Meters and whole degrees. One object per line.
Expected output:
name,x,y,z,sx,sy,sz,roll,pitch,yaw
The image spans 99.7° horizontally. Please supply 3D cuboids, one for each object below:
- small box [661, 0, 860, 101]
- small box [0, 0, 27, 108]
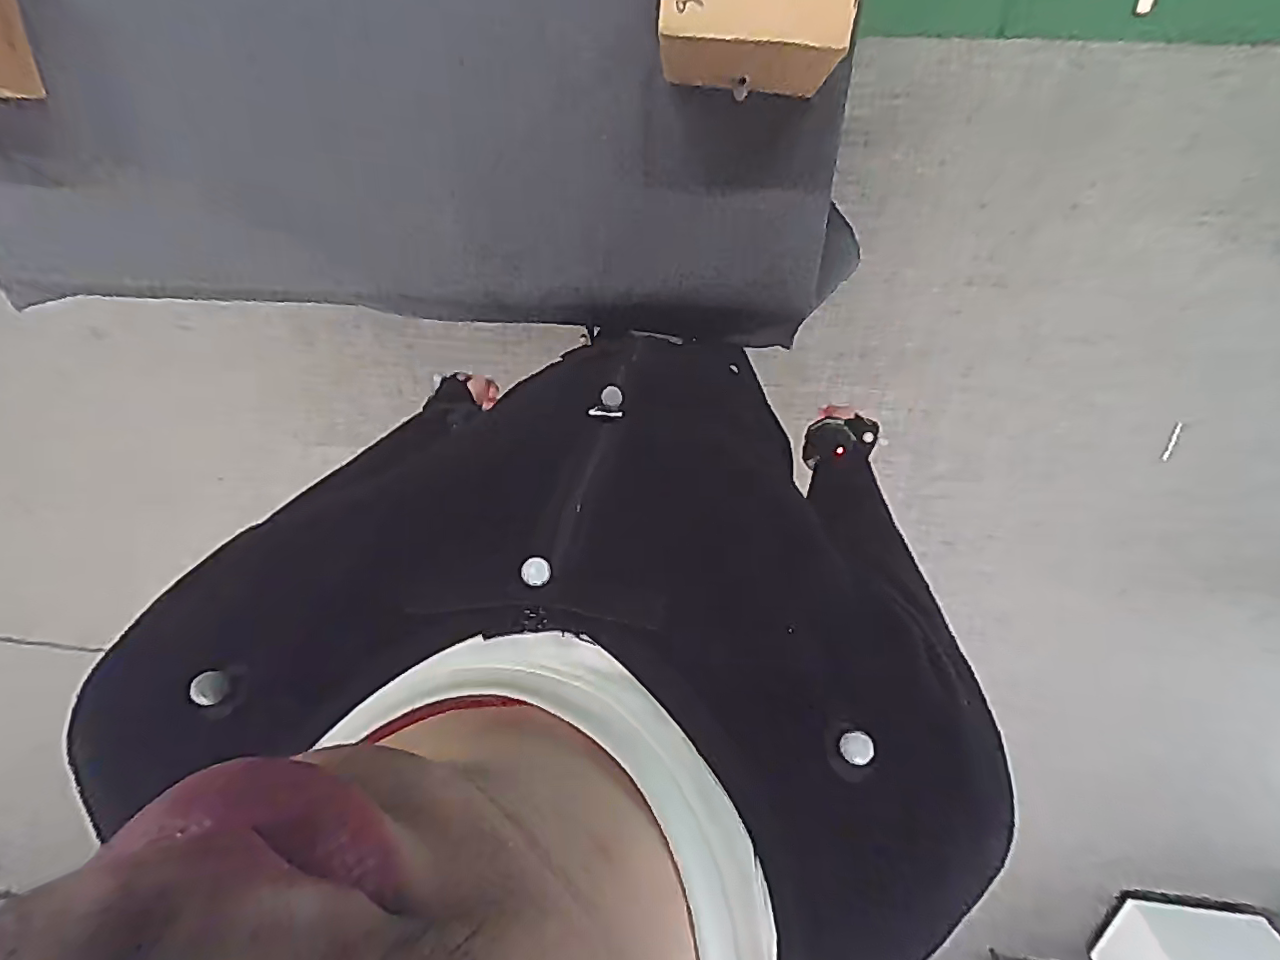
small box,0.119,-0.501,0.544,0.179,0.176,0.168,7,114,2
small box,-0.858,-0.534,0.601,0.179,0.176,0.168,6,111,2
